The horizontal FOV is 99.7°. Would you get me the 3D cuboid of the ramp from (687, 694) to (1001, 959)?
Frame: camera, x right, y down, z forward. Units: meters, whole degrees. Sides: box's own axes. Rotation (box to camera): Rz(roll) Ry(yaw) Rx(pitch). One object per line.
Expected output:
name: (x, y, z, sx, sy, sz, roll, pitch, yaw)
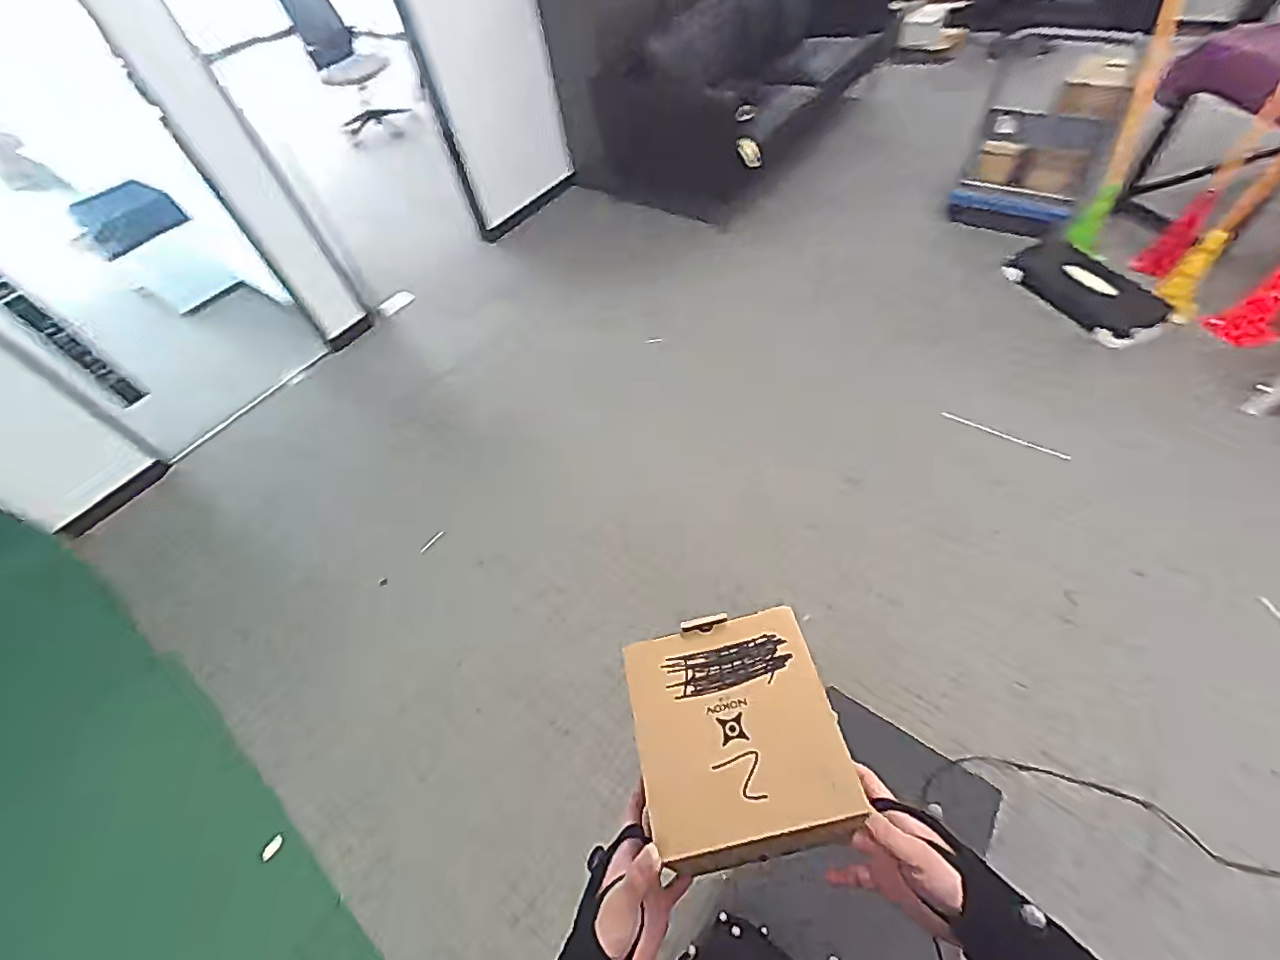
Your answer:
ramp: (0.461, 1.023, 1.254, 0.509, 0.206, 0.991, 26, 61, 26)
